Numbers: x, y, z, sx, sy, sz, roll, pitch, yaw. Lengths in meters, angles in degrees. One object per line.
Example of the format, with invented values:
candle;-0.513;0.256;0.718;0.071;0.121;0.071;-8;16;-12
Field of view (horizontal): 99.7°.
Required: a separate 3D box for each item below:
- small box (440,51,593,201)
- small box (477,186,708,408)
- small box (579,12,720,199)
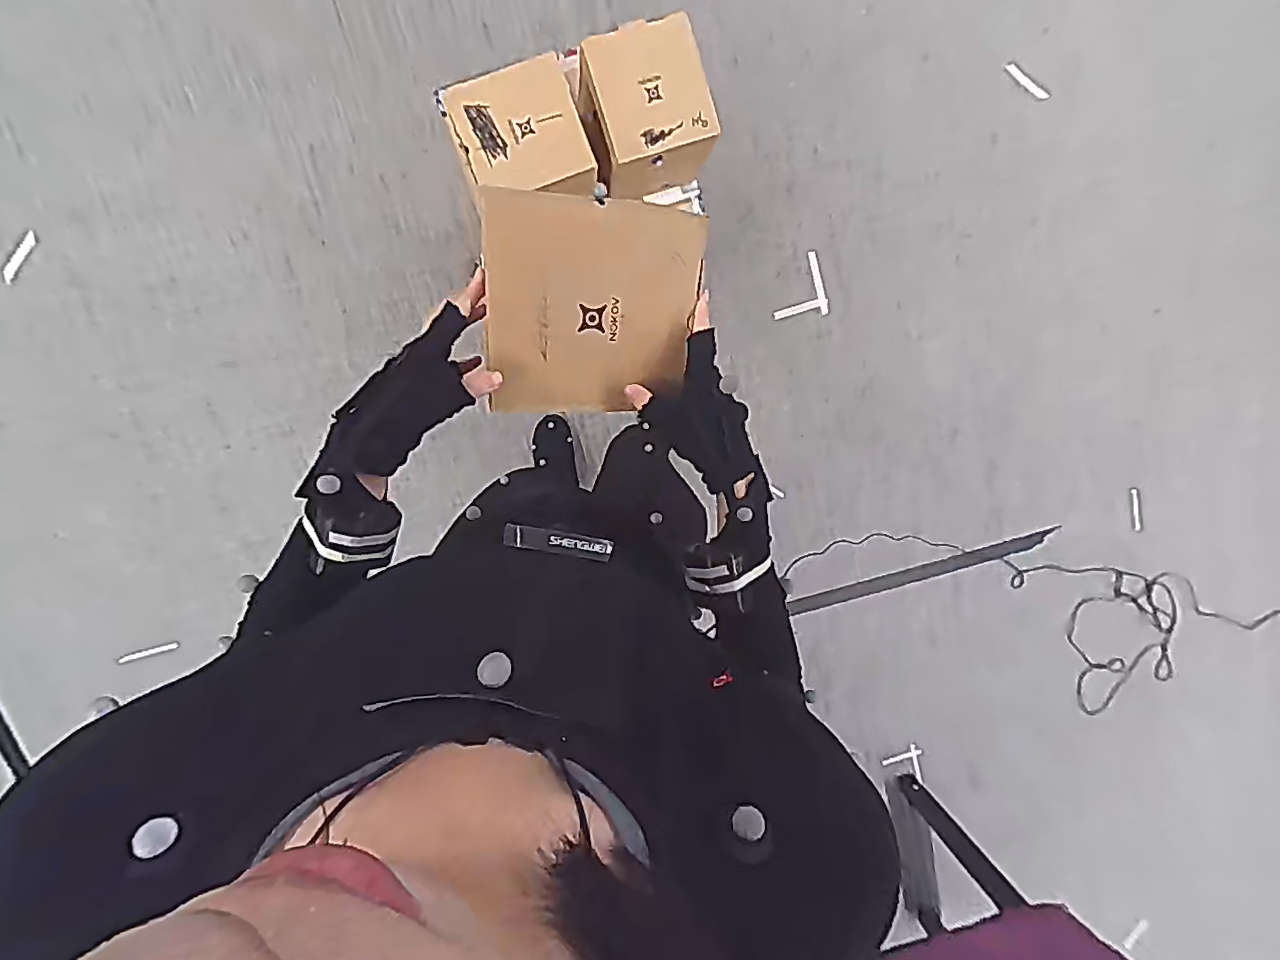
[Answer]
small box;-0.180;-0.510;0.849;0.179;0.176;0.168;-22;99;-2
small box;-0.057;-0.174;0.505;0.179;0.176;0.168;-3;119;-16
small box;0.005;-0.578;0.862;0.168;0.176;0.179;-19;98;-6
